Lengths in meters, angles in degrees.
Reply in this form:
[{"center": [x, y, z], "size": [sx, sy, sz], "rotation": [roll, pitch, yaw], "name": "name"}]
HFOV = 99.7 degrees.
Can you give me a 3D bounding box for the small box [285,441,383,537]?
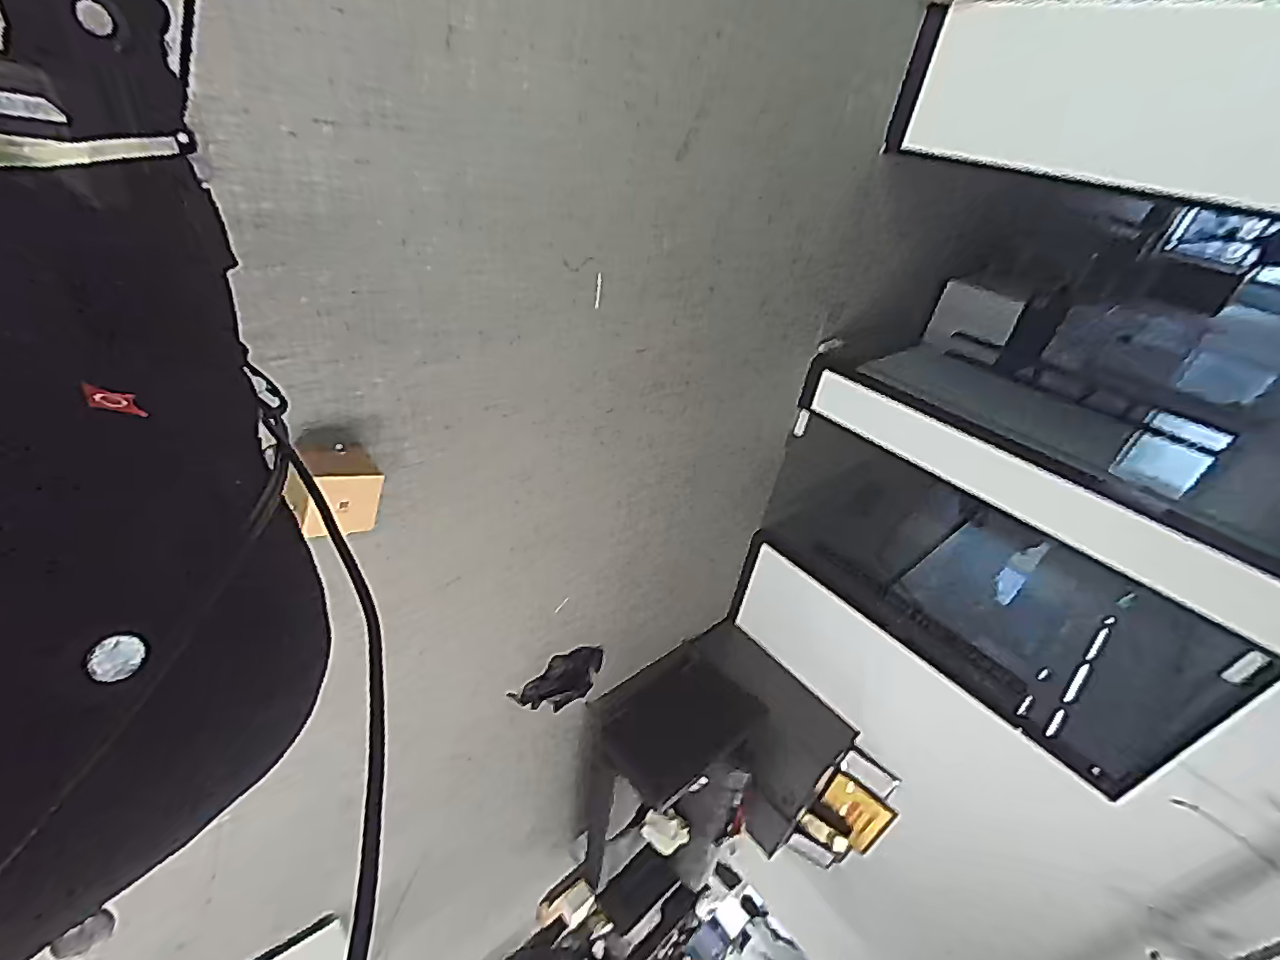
[{"center": [-0.780, 0.019, 1.369], "size": [0.168, 0.176, 0.179], "rotation": [-4, 123, -48], "name": "small box"}]
